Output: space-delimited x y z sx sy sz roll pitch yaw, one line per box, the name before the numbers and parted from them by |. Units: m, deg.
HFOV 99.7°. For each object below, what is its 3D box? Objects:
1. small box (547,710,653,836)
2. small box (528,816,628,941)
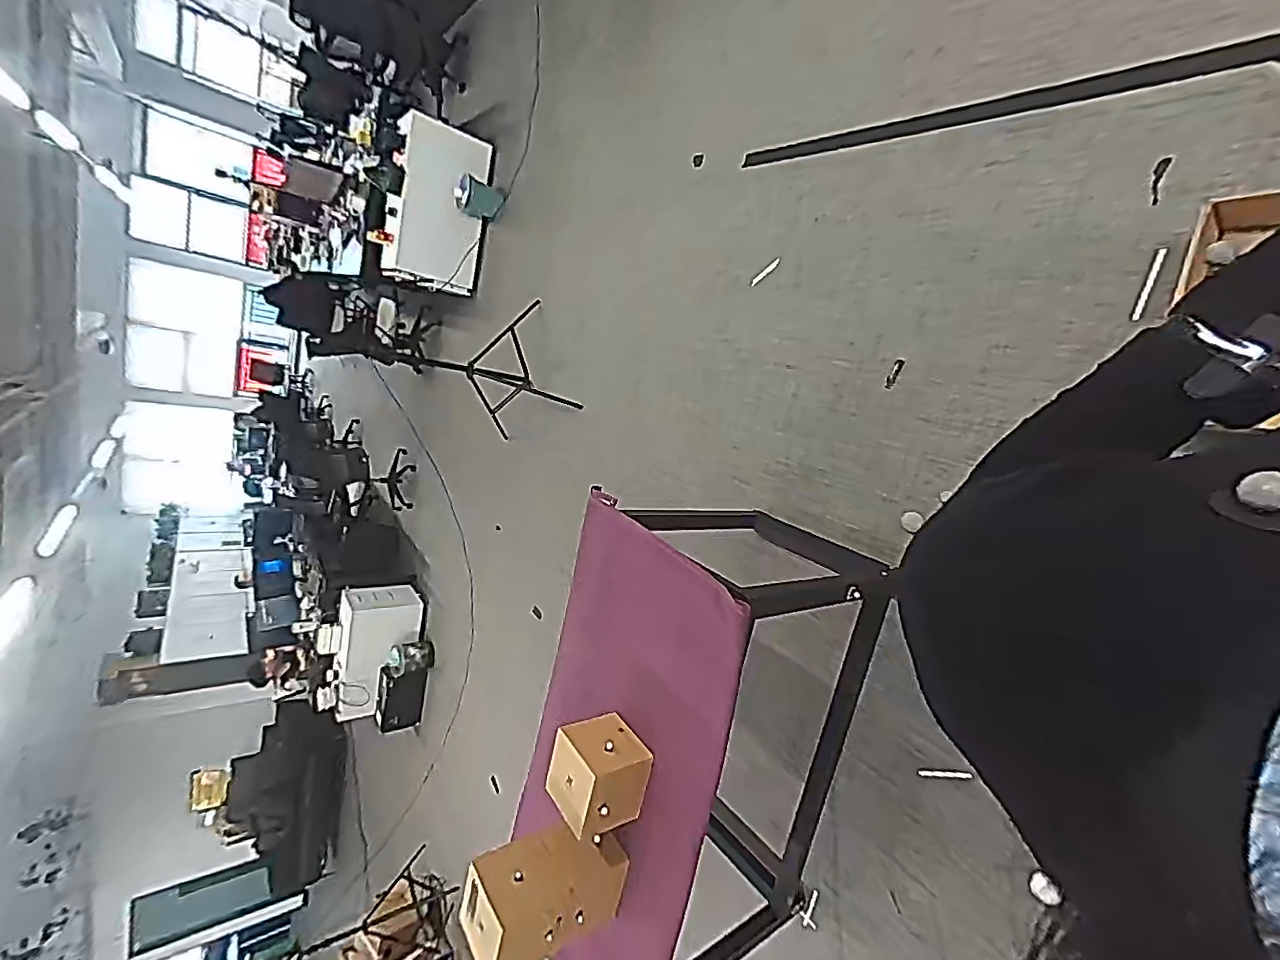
small box | -0.092 0.672 1.266 0.168 0.176 0.179 28 109 49
small box | -0.150 0.947 1.317 0.168 0.176 0.179 27 107 49
